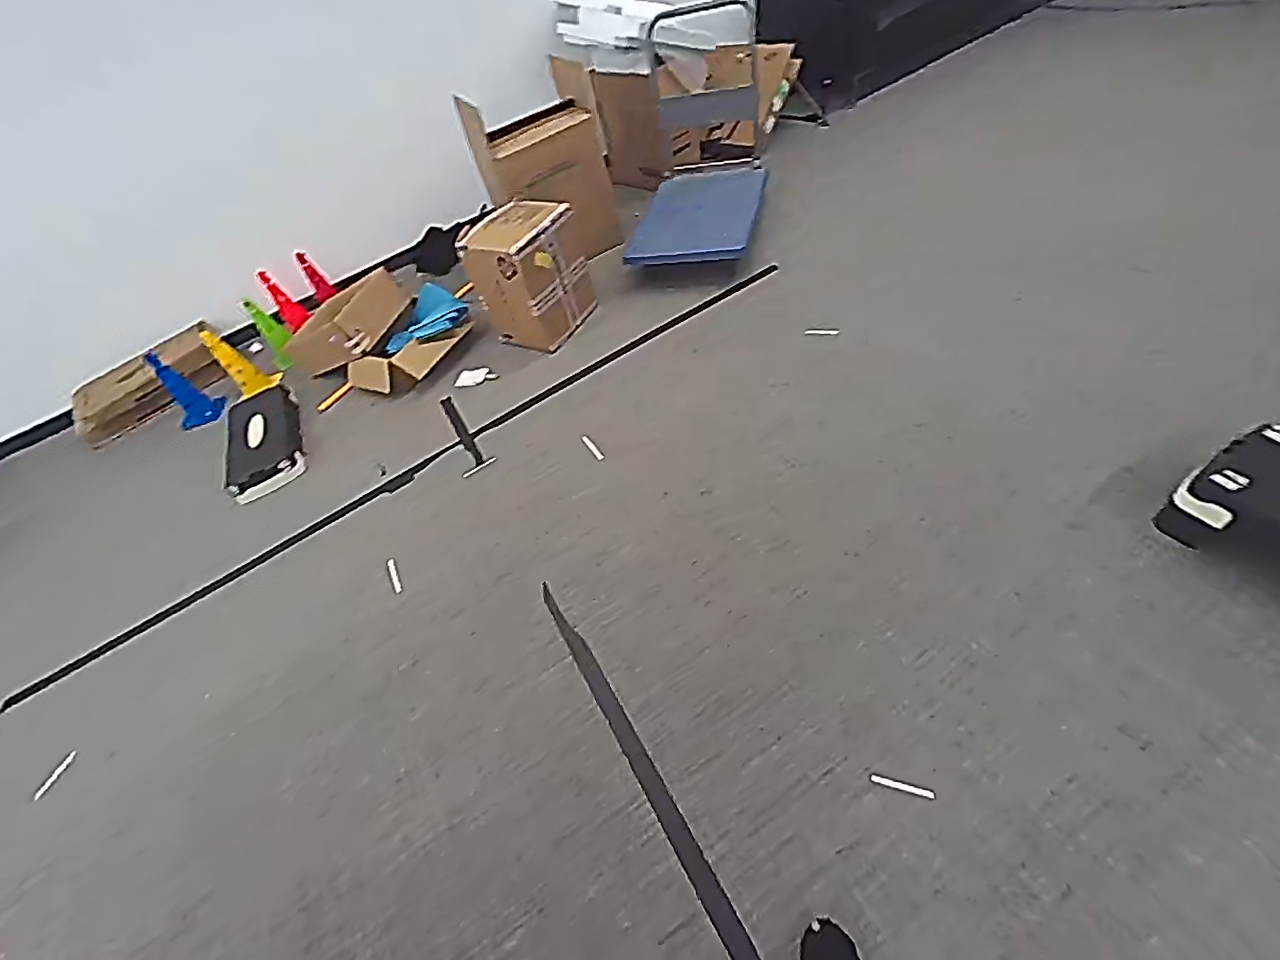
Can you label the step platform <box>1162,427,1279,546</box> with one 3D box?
[{"bbox_3d":[1.569,0.165,1.120,0.286,0.204,0.684,-32,48,-12],"label":"step platform"}]
